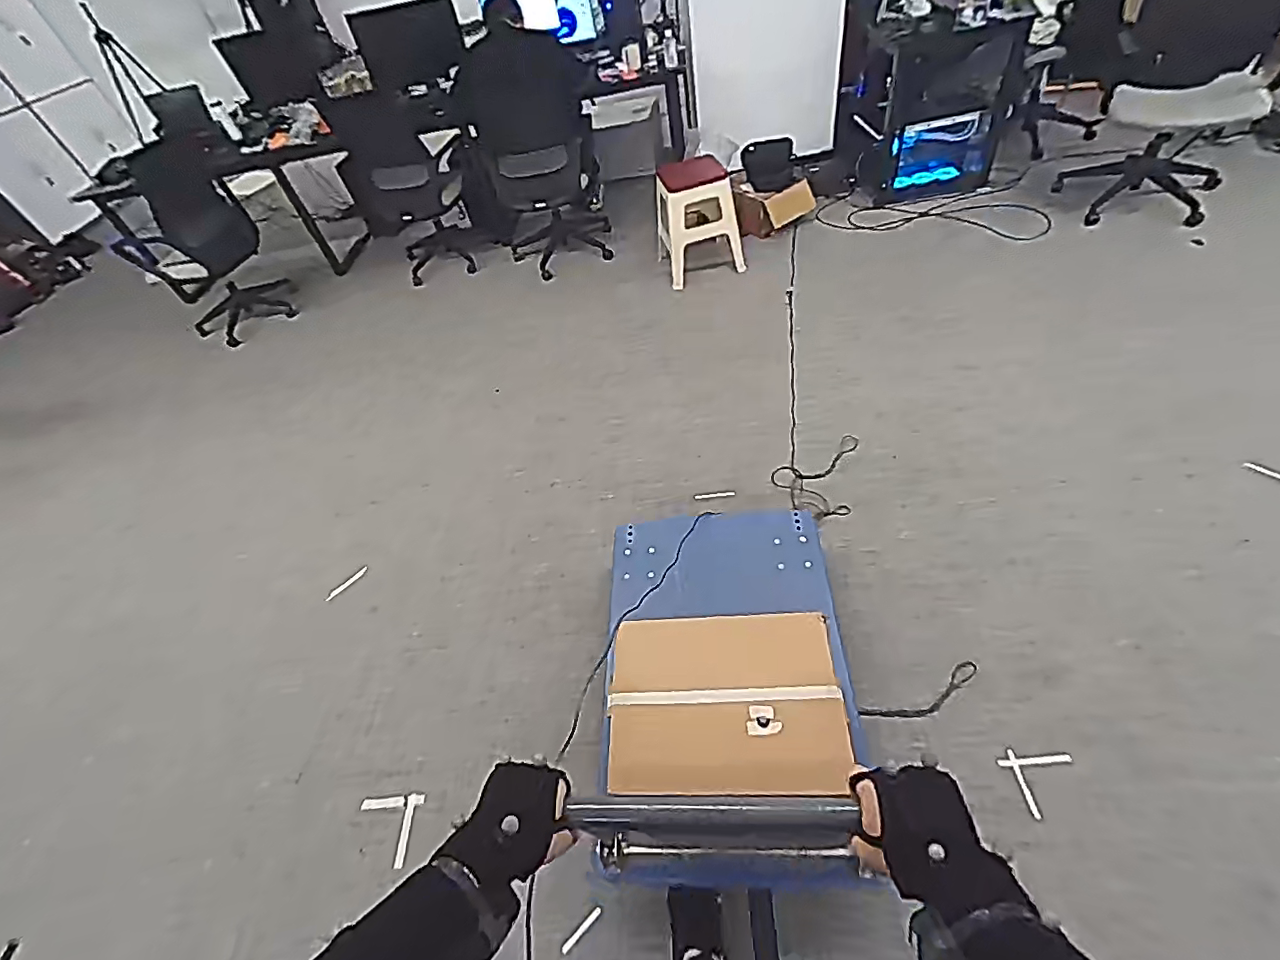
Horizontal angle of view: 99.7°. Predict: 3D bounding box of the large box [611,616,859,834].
[{"bbox_3d":[0.169,0.490,1.068,0.408,0.320,0.320,-5,49,7],"label":"large box"}]
